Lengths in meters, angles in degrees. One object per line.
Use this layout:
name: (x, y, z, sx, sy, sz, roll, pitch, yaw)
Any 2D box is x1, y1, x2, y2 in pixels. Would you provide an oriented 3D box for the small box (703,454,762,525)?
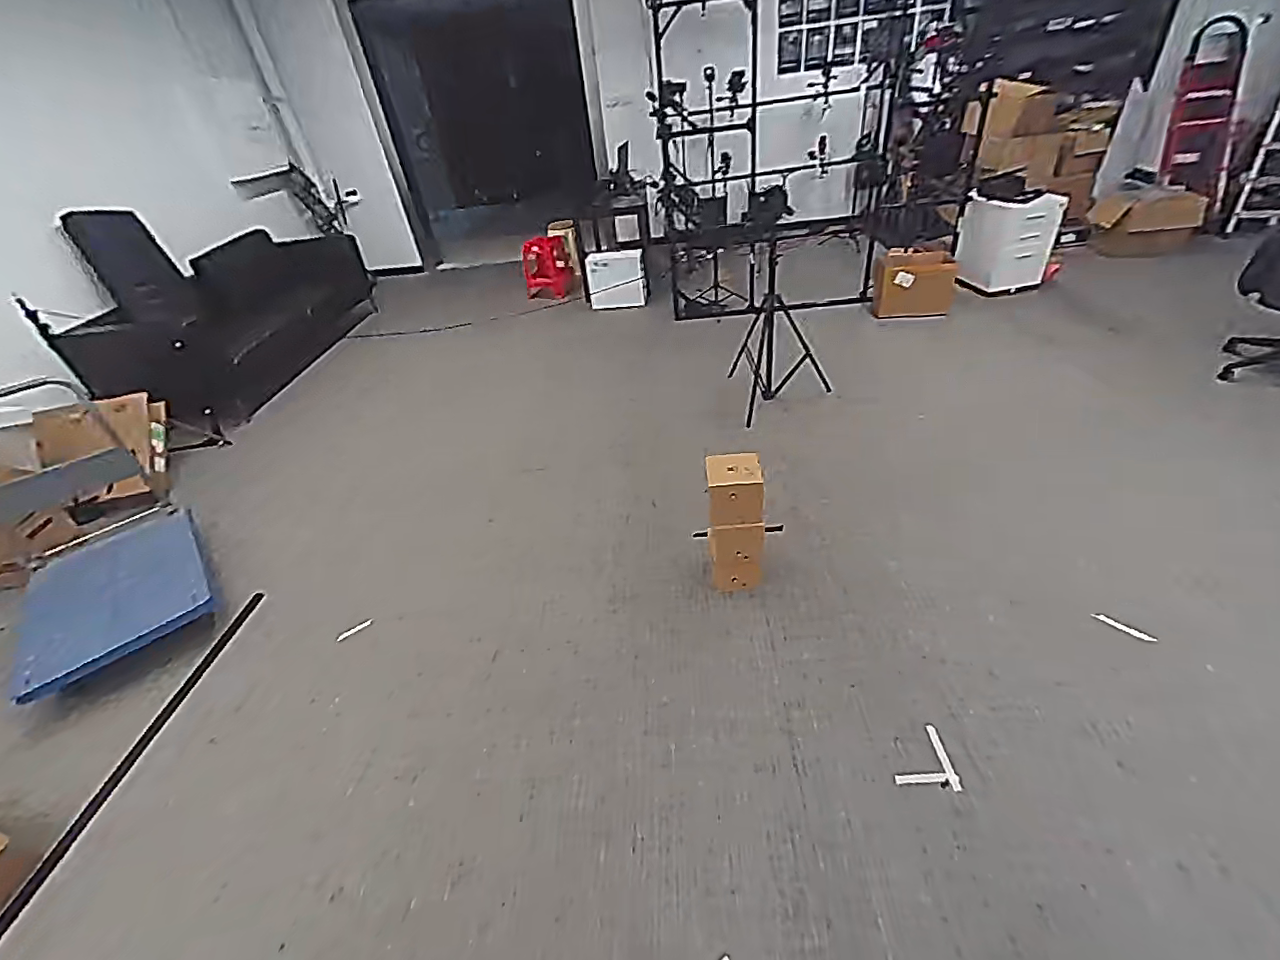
small box: (0.306, 0.035, 1.796, 0.179, 0.176, 0.168, -4, 38, 5)

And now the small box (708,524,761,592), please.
small box: (0.344, 0.290, 2.000, 0.168, 0.176, 0.179, -8, 36, 1)
